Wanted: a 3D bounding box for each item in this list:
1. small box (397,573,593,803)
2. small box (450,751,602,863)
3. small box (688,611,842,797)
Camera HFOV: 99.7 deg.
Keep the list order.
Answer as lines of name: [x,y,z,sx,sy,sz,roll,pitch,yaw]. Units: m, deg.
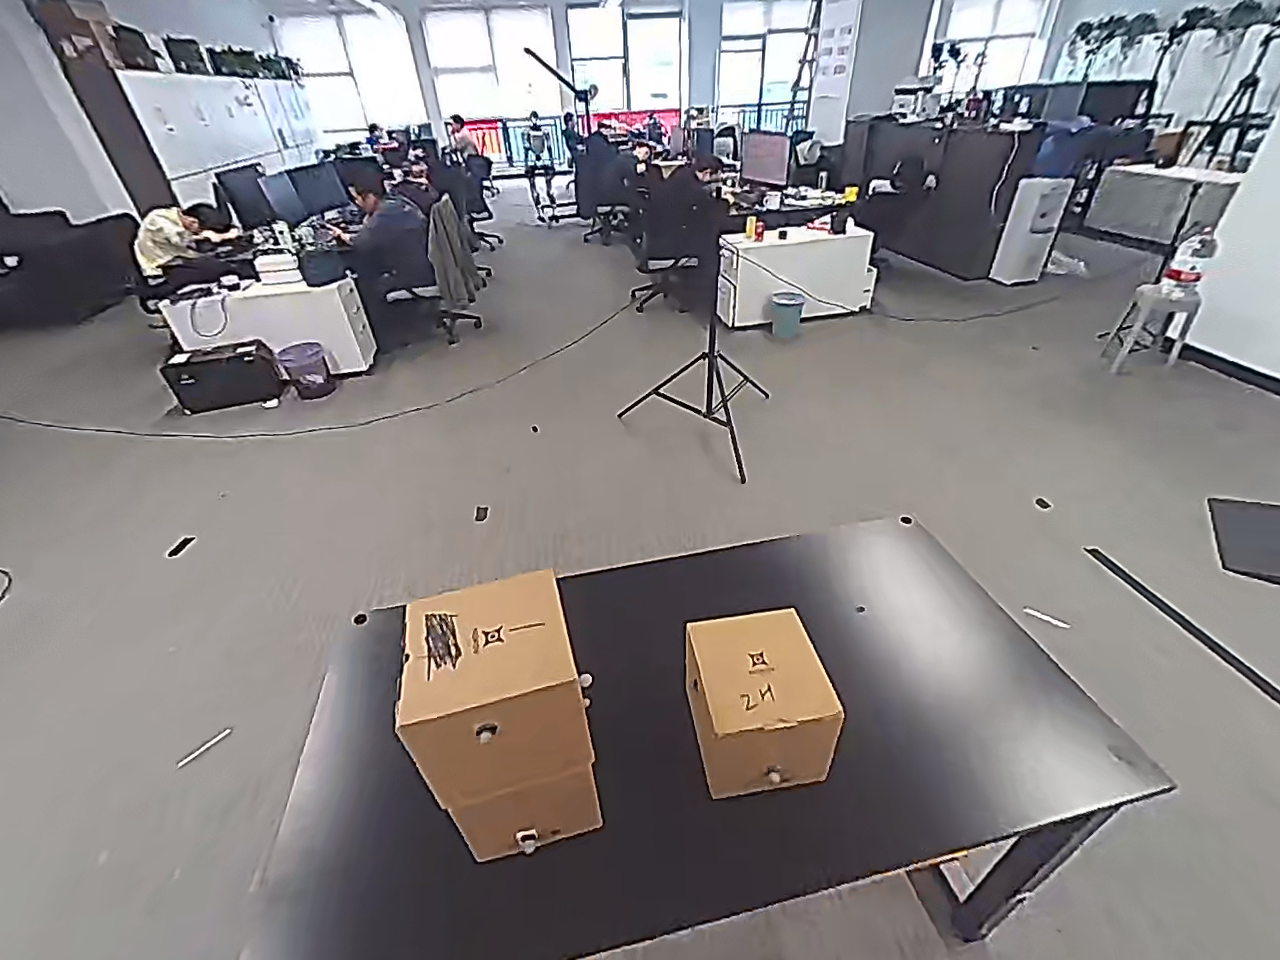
small box: [-0.162,0.241,0.634,0.179,0.176,0.168,-12,37,-11]
small box: [-0.153,0.372,0.733,0.168,0.176,0.179,-12,38,-10]
small box: [0.164,0.319,0.778,0.168,0.176,0.179,-7,36,-4]
